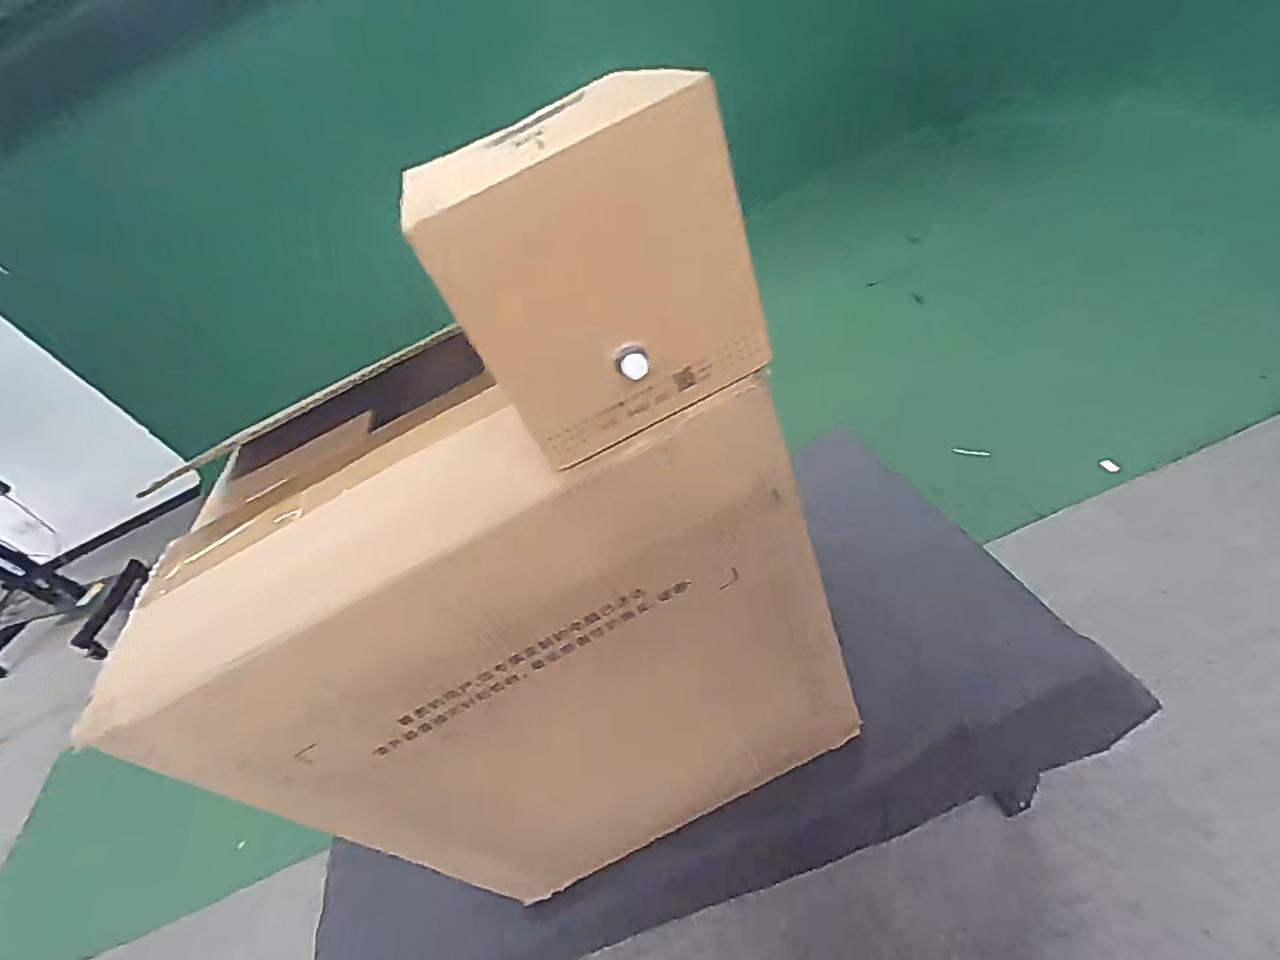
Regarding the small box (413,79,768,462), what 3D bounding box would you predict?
[{"bbox_3d":[-0.032,-0.144,0.373,0.168,0.176,0.179,-27,42,-1],"label":"small box"}]
